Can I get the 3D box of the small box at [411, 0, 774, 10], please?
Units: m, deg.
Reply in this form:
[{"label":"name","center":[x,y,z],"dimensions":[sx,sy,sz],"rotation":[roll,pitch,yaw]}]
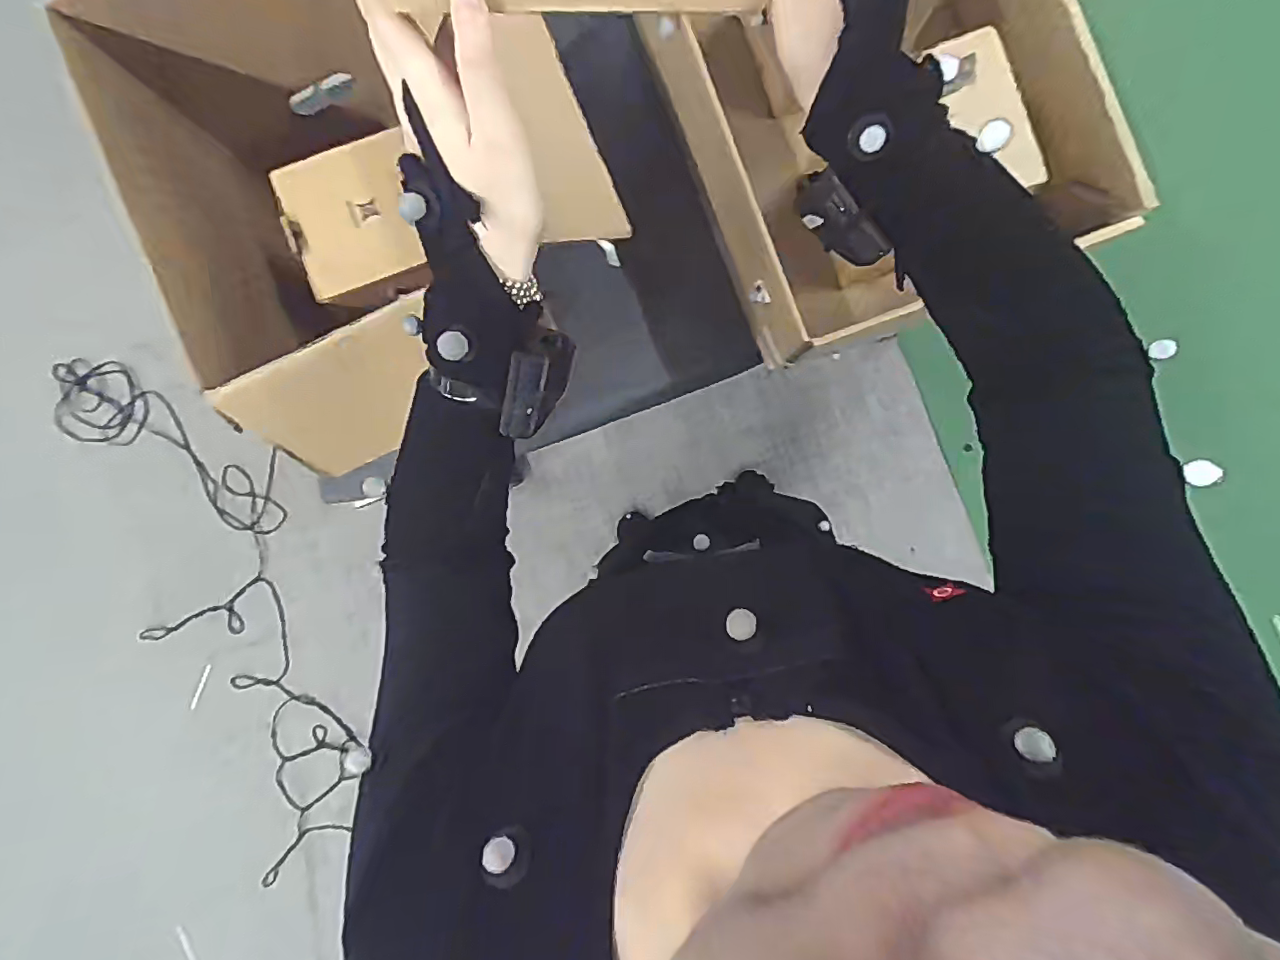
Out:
[{"label":"small box","center":[-0.035,-0.324,0.230],"dimensions":[0.179,0.168,0.176],"rotation":[-12,52,-13]}]
